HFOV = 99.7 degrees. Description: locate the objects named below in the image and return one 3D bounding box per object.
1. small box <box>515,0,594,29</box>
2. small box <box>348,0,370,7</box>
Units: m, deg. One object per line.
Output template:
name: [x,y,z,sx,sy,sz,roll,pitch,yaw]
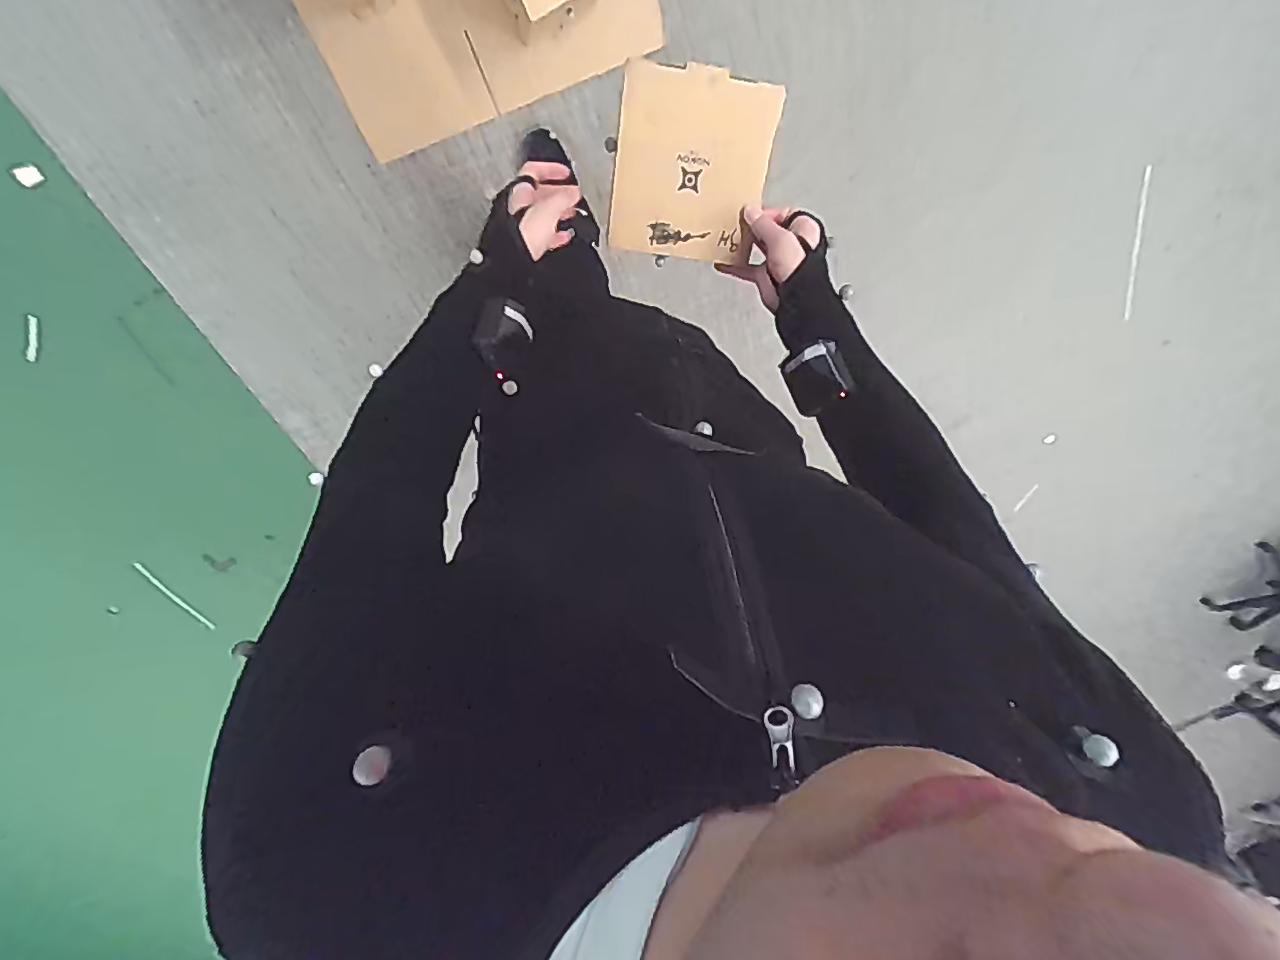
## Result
small box: [-0.149,-0.878,0.882,0.168,0.176,0.179,-27,123,5]
small box: [-0.518,-0.985,0.945,0.168,0.176,0.179,-27,123,6]
